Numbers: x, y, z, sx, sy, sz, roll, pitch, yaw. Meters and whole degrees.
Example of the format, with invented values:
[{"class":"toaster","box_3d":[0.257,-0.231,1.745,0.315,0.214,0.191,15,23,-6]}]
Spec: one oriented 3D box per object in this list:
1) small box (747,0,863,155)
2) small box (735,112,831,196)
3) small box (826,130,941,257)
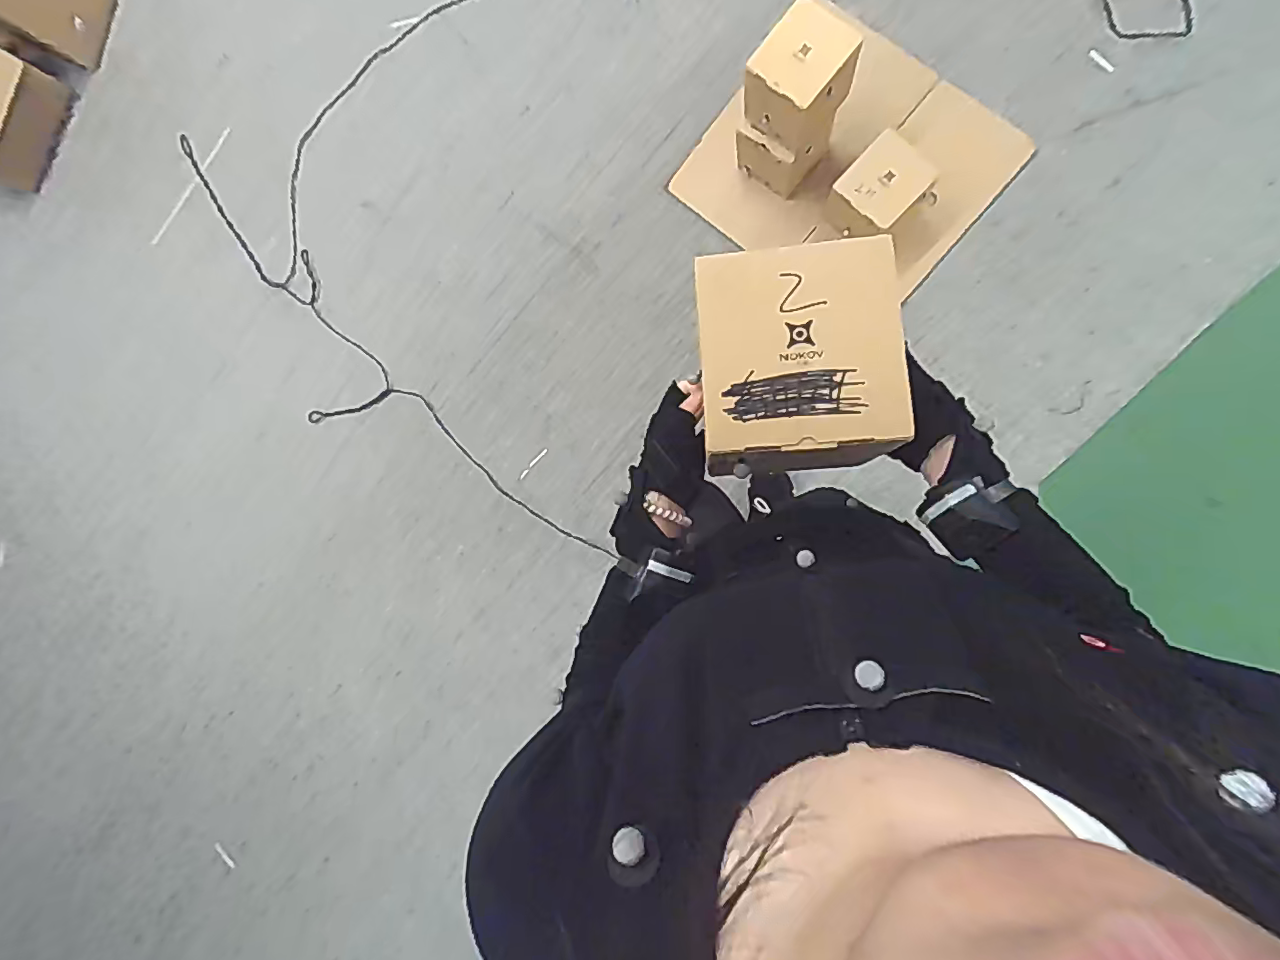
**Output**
[{"class":"small box","box_3d":[0.347,-0.869,1.182,0.168,0.176,0.179,42,98,8]},{"class":"small box","box_3d":[0.357,-0.853,1.346,0.168,0.176,0.179,39,98,8]},{"class":"small box","box_3d":[0.575,-0.682,1.308,0.179,0.176,0.168,-45,82,9]}]
